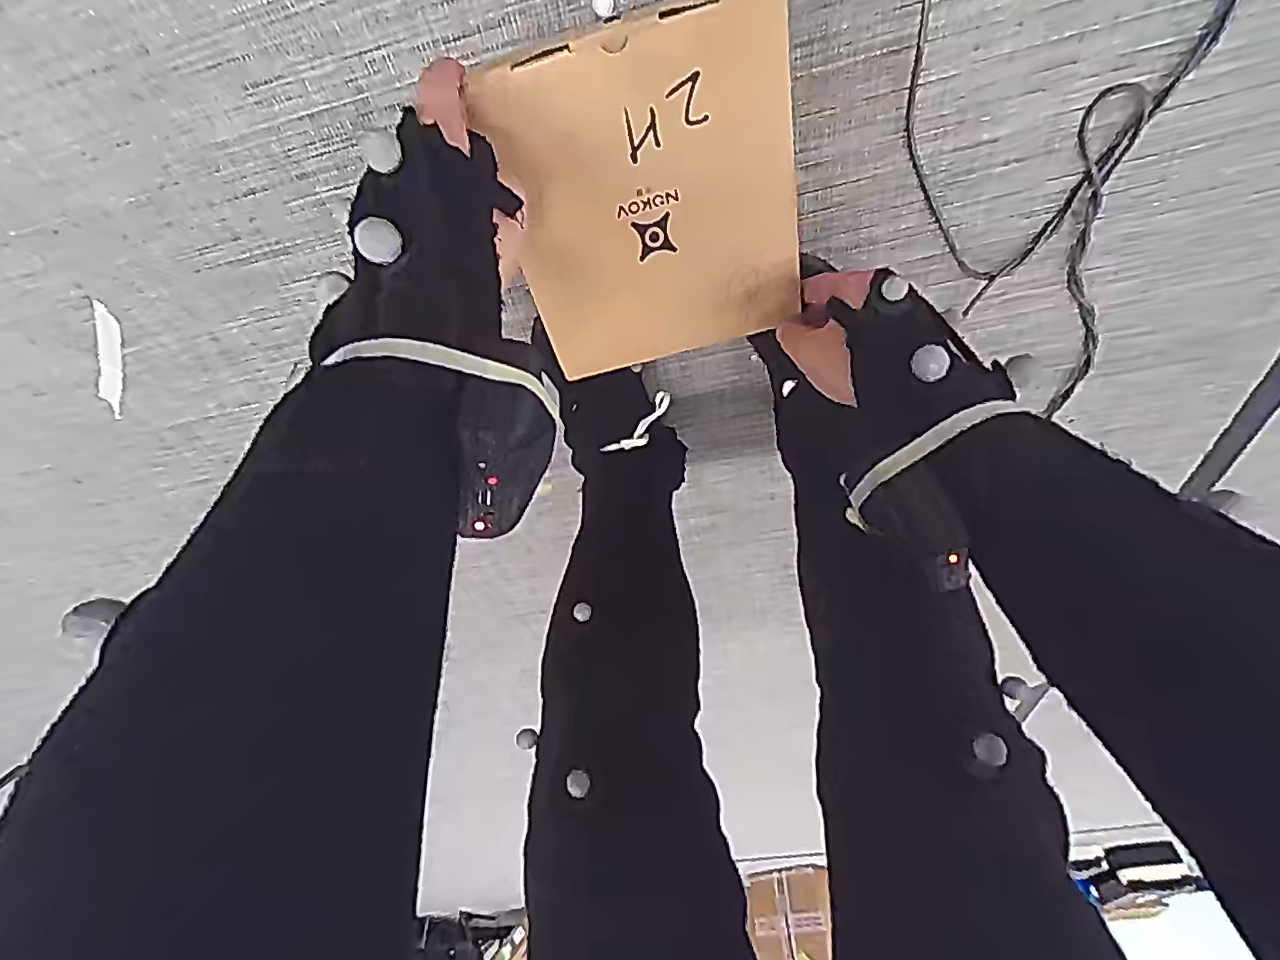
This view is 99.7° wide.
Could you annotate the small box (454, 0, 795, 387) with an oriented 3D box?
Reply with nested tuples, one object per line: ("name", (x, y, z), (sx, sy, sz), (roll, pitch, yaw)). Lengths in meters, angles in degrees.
("small box", (0.000, -0.195, 0.371), (0.168, 0.176, 0.179), (-14, 131, 5))
